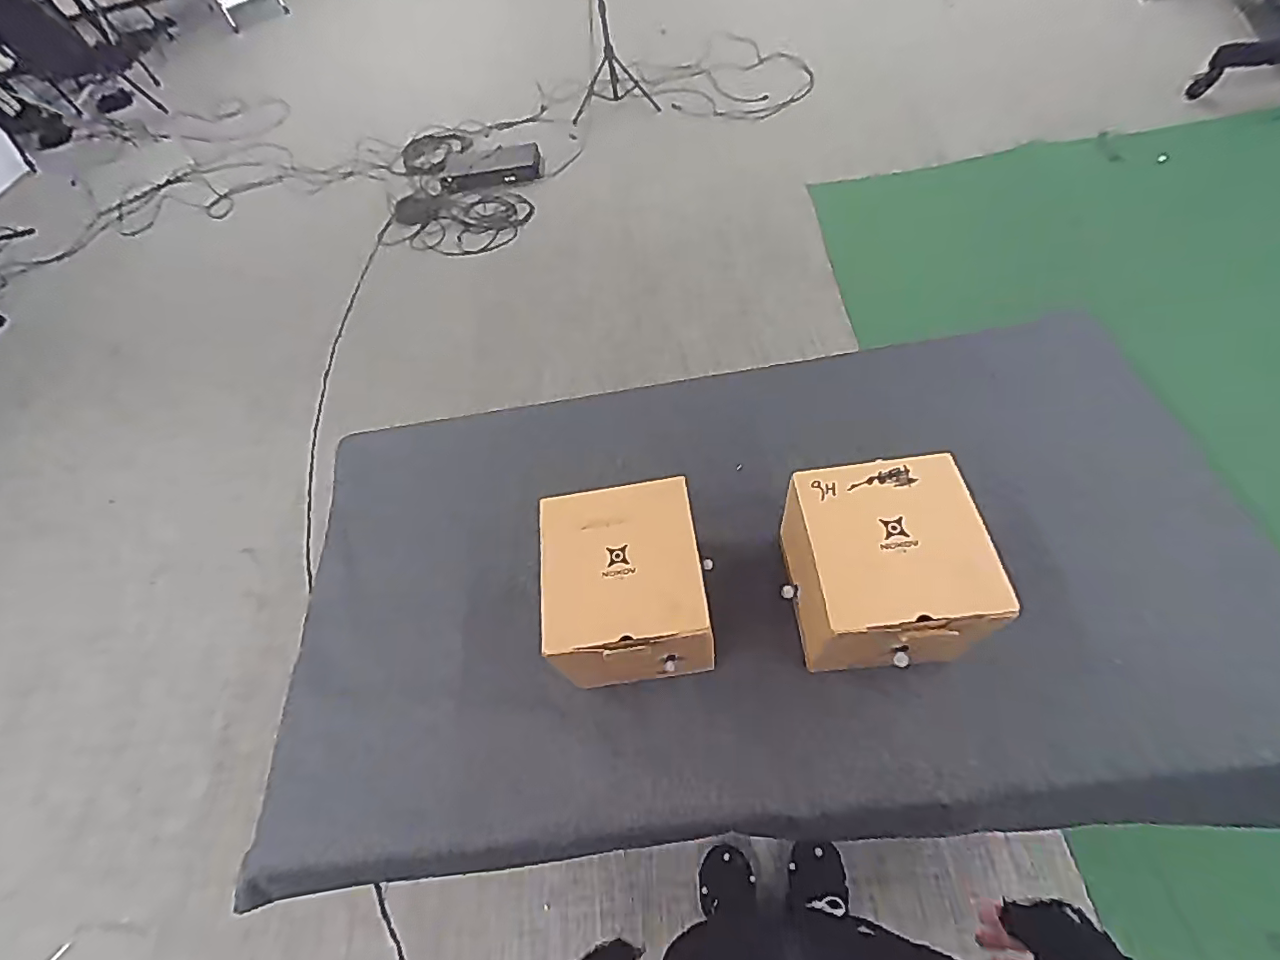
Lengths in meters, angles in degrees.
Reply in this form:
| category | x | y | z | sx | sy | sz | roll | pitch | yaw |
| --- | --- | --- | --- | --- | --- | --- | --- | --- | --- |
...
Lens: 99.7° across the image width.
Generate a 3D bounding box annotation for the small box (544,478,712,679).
| category | x | y | z | sx | sy | sz | roll | pitch | yaw |
| --- | --- | --- | --- | --- | --- | --- | --- | --- | --- |
| small box | -0.010 | 0.124 | 0.632 | 0.168 | 0.176 | 0.179 | -9 | 57 | 2 |
